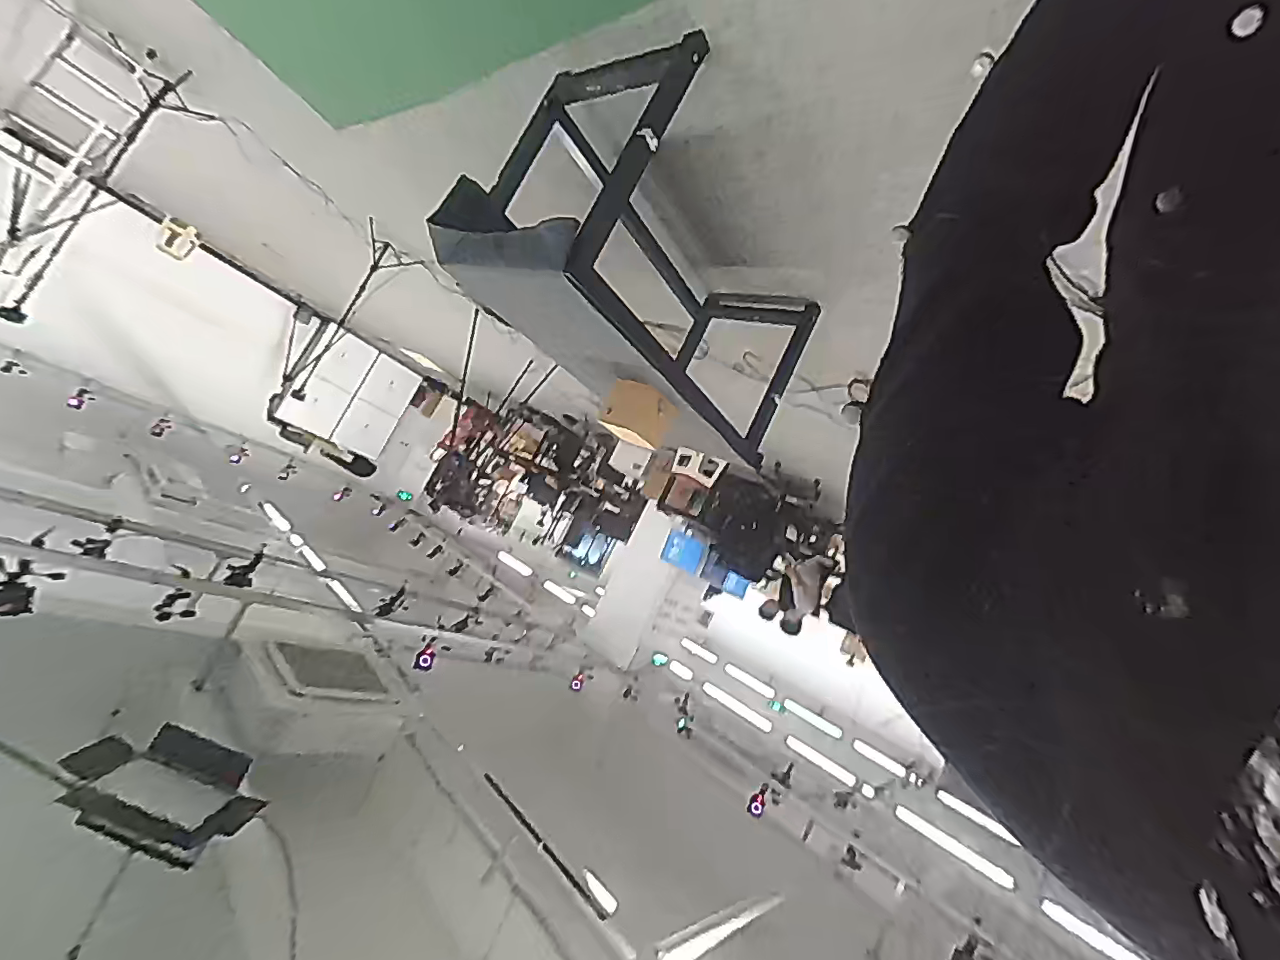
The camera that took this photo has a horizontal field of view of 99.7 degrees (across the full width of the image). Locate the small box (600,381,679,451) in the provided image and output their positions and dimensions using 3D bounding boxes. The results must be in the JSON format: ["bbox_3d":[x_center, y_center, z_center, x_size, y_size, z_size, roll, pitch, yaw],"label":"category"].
[{"bbox_3d":[0.001,-0.224,1.858,0.179,0.176,0.168,20,172,41],"label":"small box"}]
